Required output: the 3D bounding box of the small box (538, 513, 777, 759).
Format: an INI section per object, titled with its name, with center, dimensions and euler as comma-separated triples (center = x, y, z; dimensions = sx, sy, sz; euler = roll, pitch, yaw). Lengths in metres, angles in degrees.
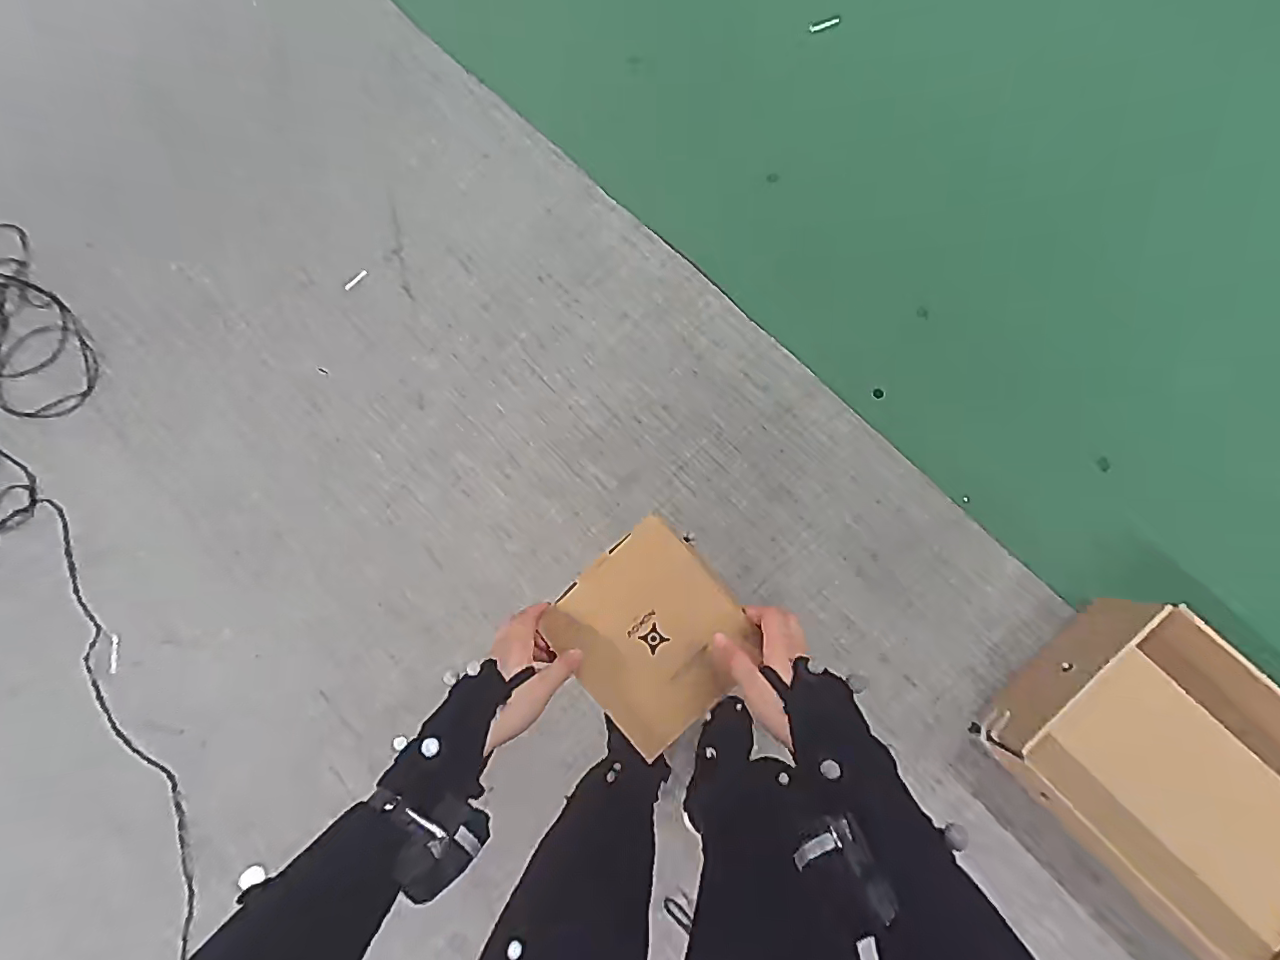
[small box]
center = 0.023, 0.154, 0.597
dimensions = 0.168, 0.176, 0.179
euler = -44, 83, 4
